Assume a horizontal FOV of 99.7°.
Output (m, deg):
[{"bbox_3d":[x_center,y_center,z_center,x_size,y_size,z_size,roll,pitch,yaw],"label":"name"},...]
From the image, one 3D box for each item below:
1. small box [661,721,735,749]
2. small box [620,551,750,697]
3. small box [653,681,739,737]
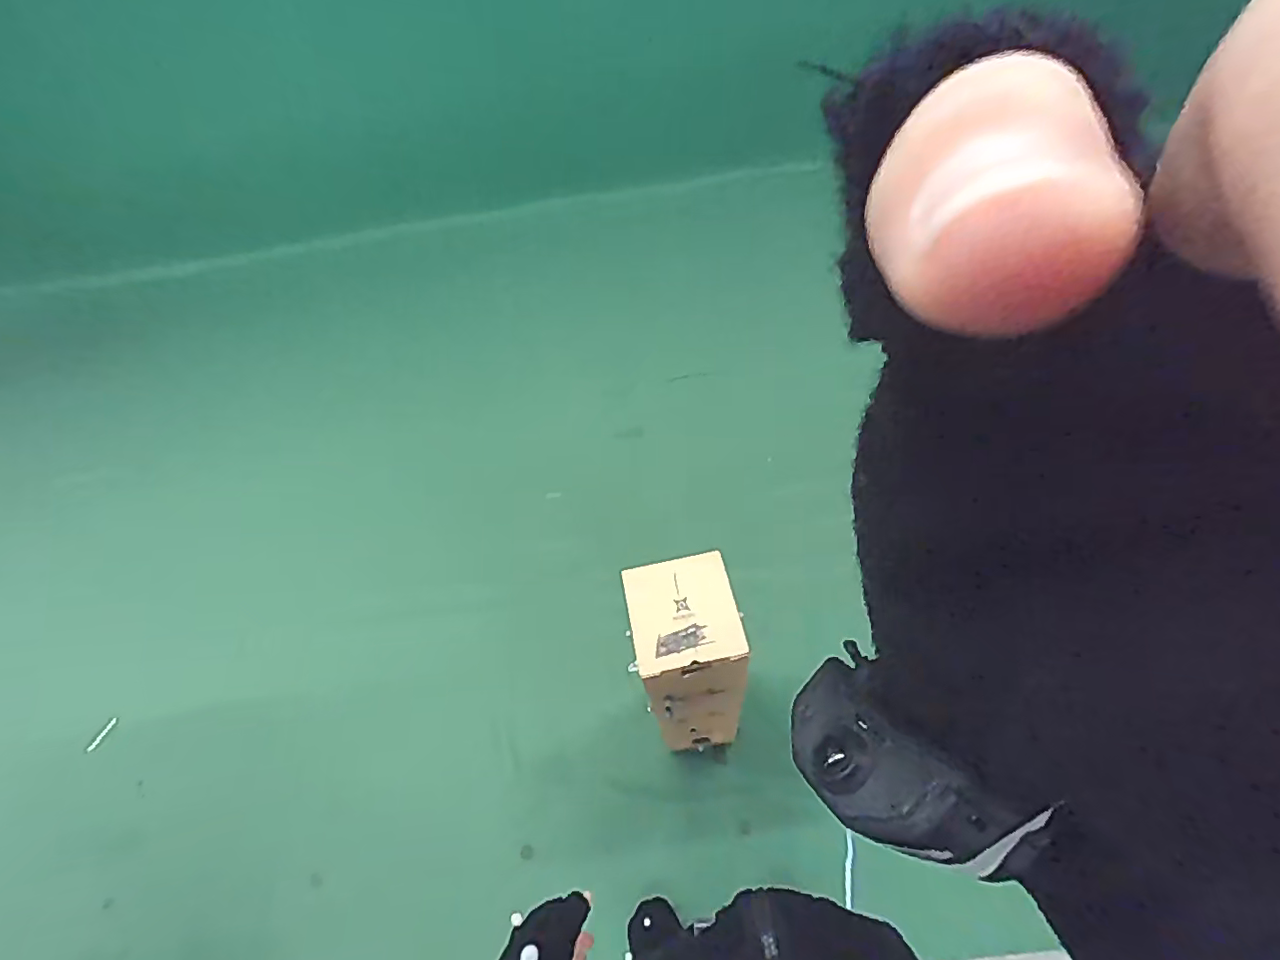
[{"bbox_3d":[0.124,0.525,1.293,0.168,0.176,0.179,-10,55,1],"label":"small box"},{"bbox_3d":[0.073,0.245,0.892,0.168,0.176,0.179,-14,56,-3],"label":"small box"},{"bbox_3d":[0.106,0.433,1.160,0.168,0.176,0.179,-11,56,-1],"label":"small box"}]
